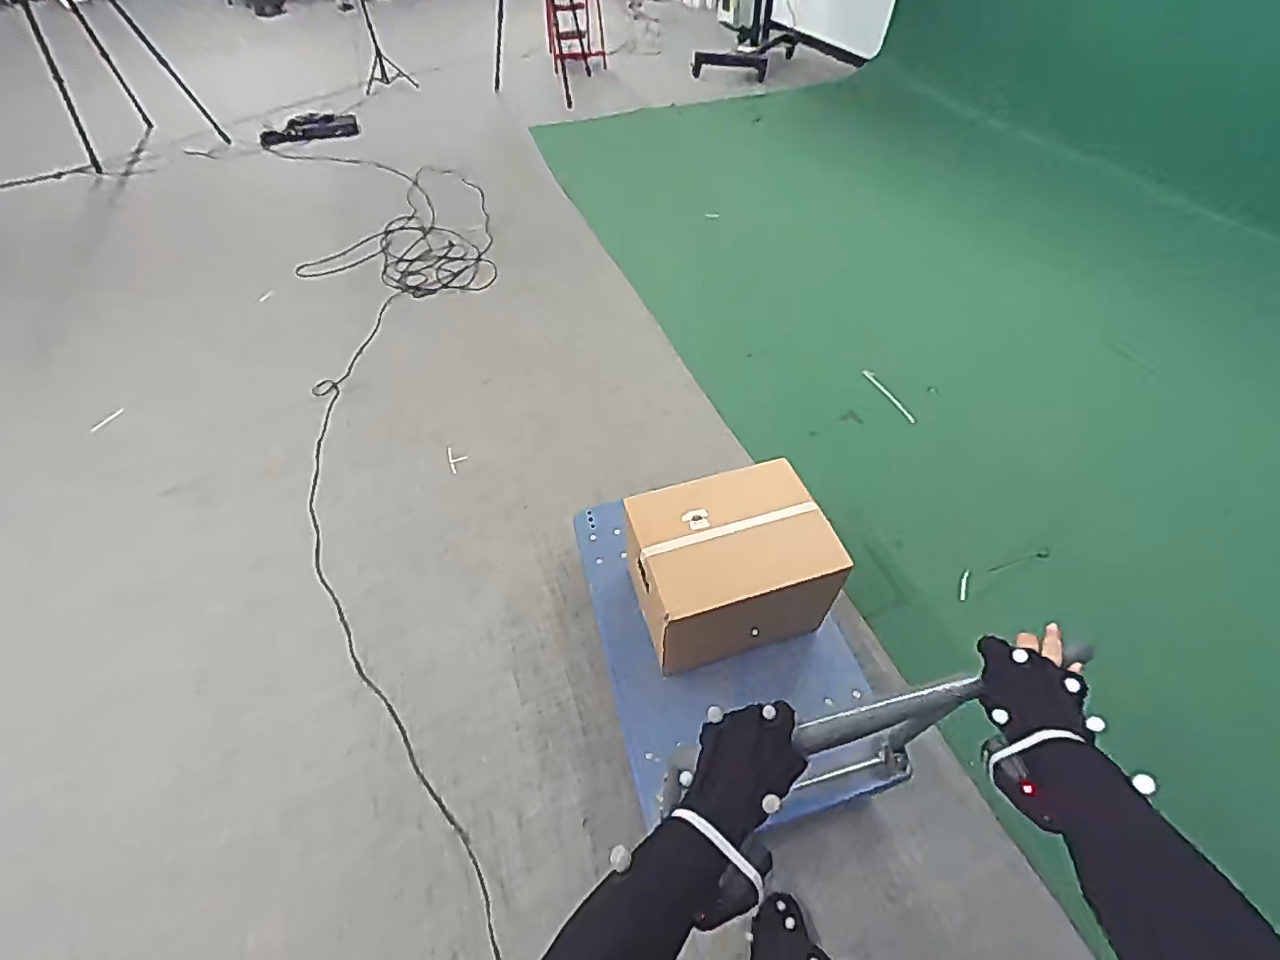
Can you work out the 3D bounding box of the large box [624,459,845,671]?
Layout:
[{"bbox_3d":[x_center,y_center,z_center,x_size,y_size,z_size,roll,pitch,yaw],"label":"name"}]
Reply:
[{"bbox_3d":[0.201,0.204,1.290,0.408,0.320,0.320,-15,52,-10],"label":"large box"}]
